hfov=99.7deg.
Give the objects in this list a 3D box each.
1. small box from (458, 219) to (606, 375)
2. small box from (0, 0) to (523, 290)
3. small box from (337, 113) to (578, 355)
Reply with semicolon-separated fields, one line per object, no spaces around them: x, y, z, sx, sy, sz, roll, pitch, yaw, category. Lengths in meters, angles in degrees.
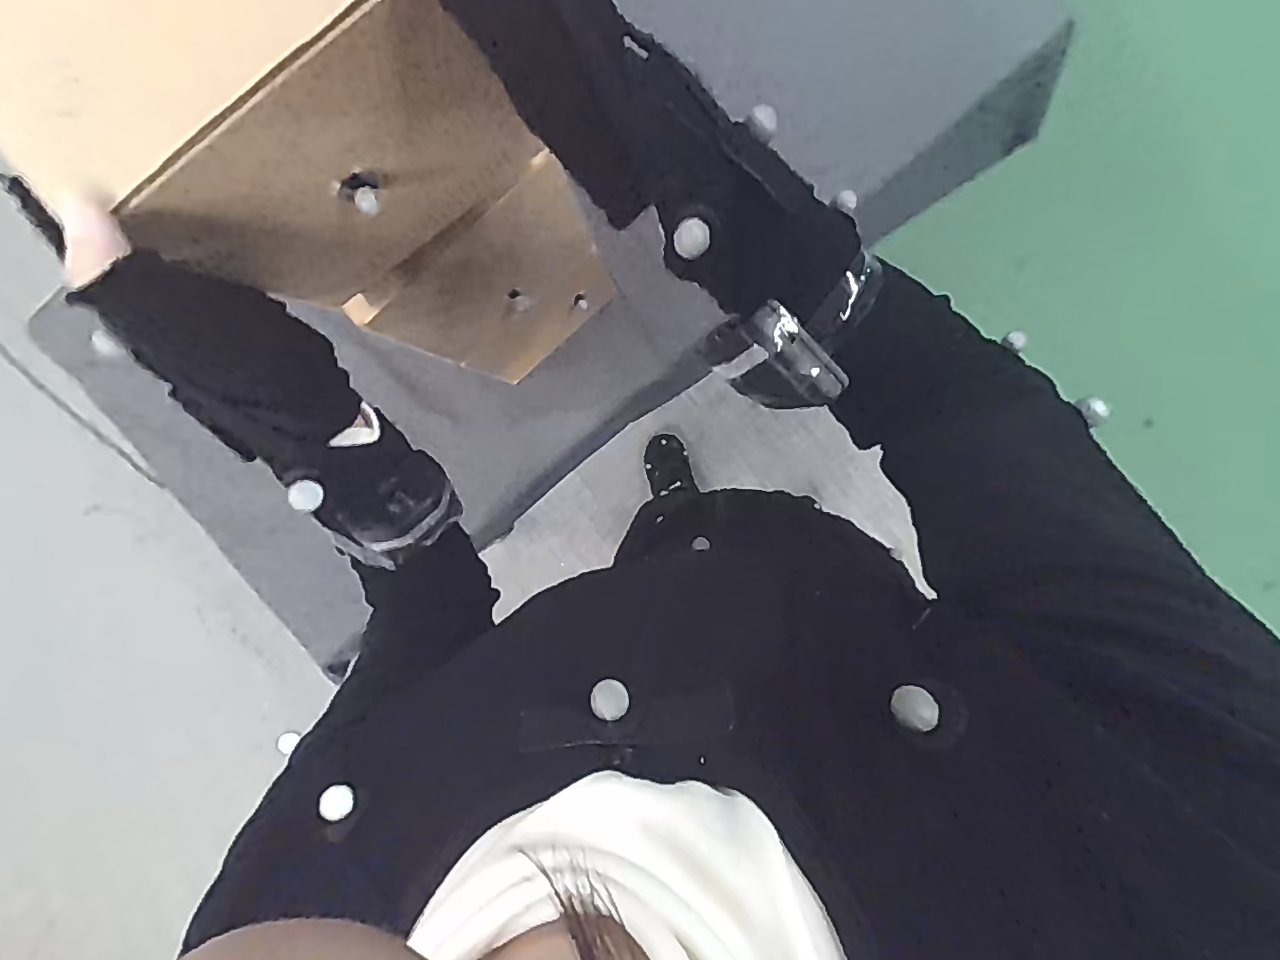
-0.153;-0.239;0.603;0.179;0.176;0.168;-41;89;8;small box
-0.172;-0.213;0.246;0.179;0.176;0.168;-34;99;7;small box
-0.168;-0.227;0.442;0.179;0.176;0.168;-42;90;7;small box
